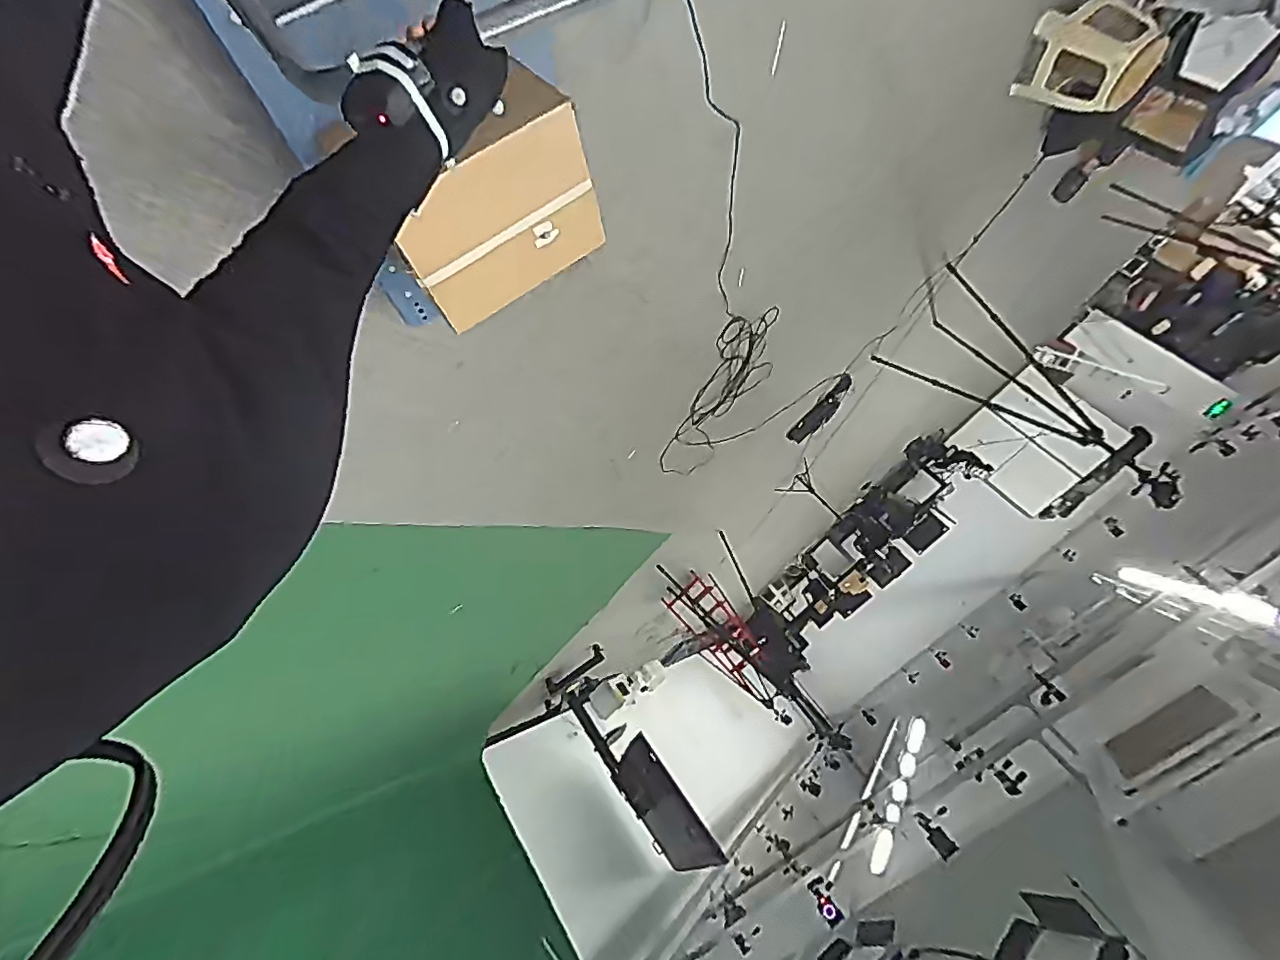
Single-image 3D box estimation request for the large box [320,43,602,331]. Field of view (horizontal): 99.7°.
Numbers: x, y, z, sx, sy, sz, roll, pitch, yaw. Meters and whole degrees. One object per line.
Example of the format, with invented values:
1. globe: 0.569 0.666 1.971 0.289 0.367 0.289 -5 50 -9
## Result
1. large box: -0.354 -0.605 1.132 0.408 0.320 0.320 -37 155 -8
